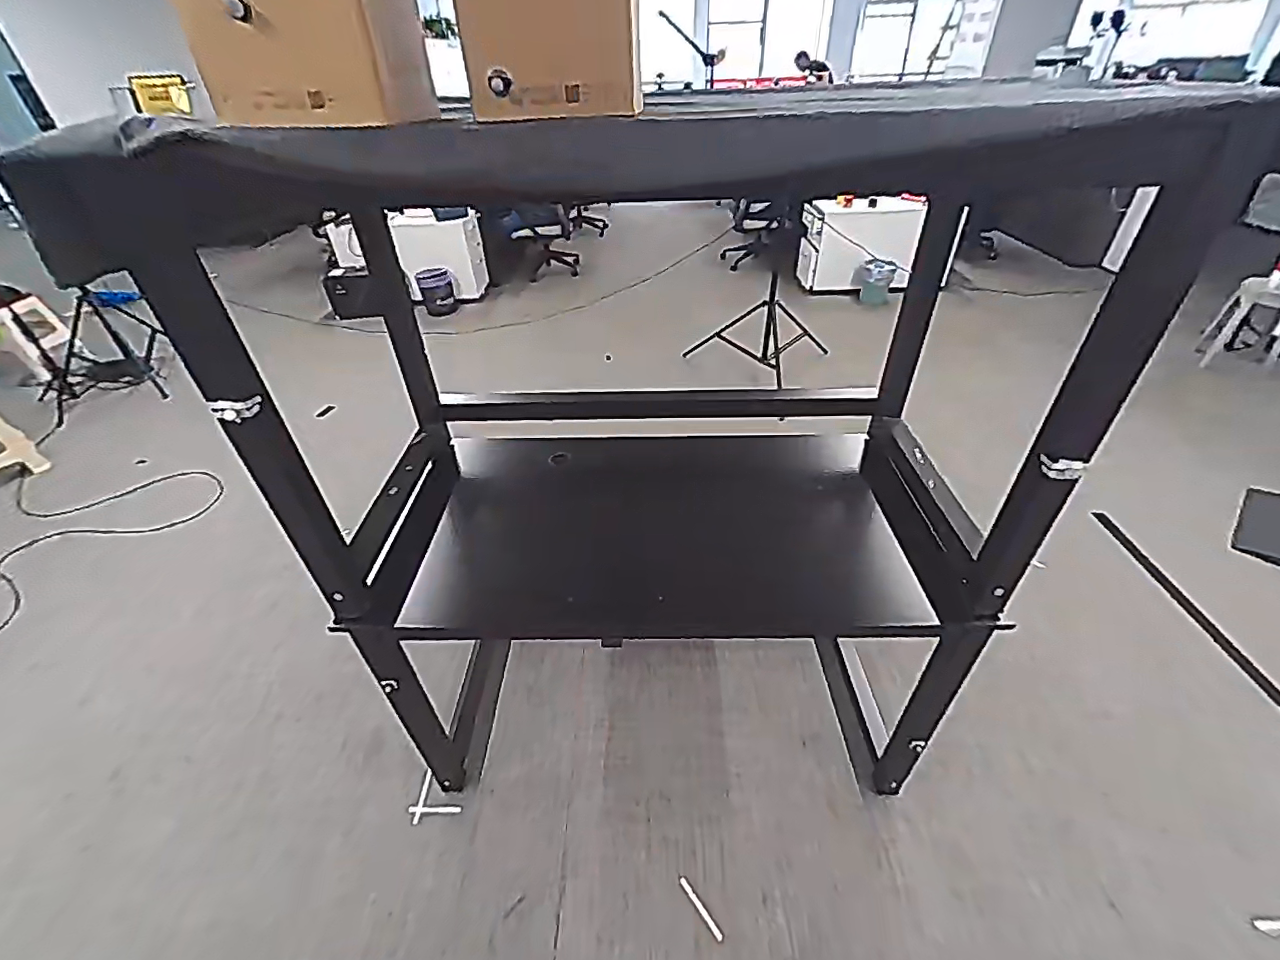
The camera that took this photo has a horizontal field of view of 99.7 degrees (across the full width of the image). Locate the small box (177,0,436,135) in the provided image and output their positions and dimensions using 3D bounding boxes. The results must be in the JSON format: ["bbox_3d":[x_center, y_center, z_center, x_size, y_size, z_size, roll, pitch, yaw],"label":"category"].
[{"bbox_3d":[-0.325,-0.453,0.549,0.168,0.176,0.179,0,35,1],"label":"small box"}]

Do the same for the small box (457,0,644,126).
[{"bbox_3d":[-0.083,-0.474,0.563,0.168,0.176,0.179,0,35,3],"label":"small box"}]
